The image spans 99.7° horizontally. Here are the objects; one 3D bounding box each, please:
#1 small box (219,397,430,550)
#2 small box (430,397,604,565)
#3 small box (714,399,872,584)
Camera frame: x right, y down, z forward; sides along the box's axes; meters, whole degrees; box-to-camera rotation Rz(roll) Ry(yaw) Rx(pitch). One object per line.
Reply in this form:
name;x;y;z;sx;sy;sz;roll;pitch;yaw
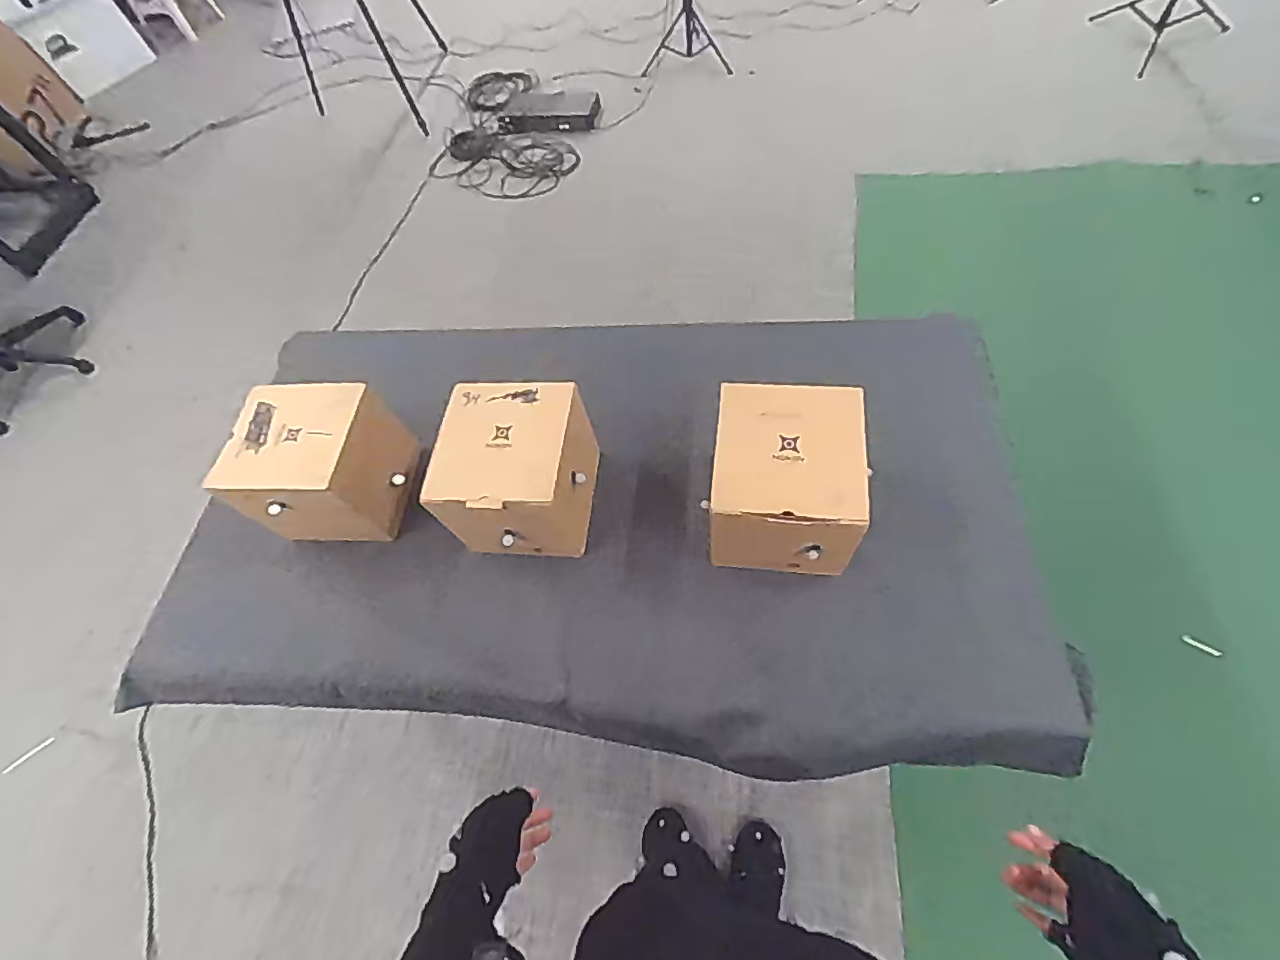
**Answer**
small box;-0.440;-0.004;0.787;0.179;0.176;0.168;0;61;8
small box;-0.151;0.007;0.737;0.168;0.176;0.179;1;61;10
small box;0.183;0.019;0.679;0.168;0.176;0.179;3;60;10
